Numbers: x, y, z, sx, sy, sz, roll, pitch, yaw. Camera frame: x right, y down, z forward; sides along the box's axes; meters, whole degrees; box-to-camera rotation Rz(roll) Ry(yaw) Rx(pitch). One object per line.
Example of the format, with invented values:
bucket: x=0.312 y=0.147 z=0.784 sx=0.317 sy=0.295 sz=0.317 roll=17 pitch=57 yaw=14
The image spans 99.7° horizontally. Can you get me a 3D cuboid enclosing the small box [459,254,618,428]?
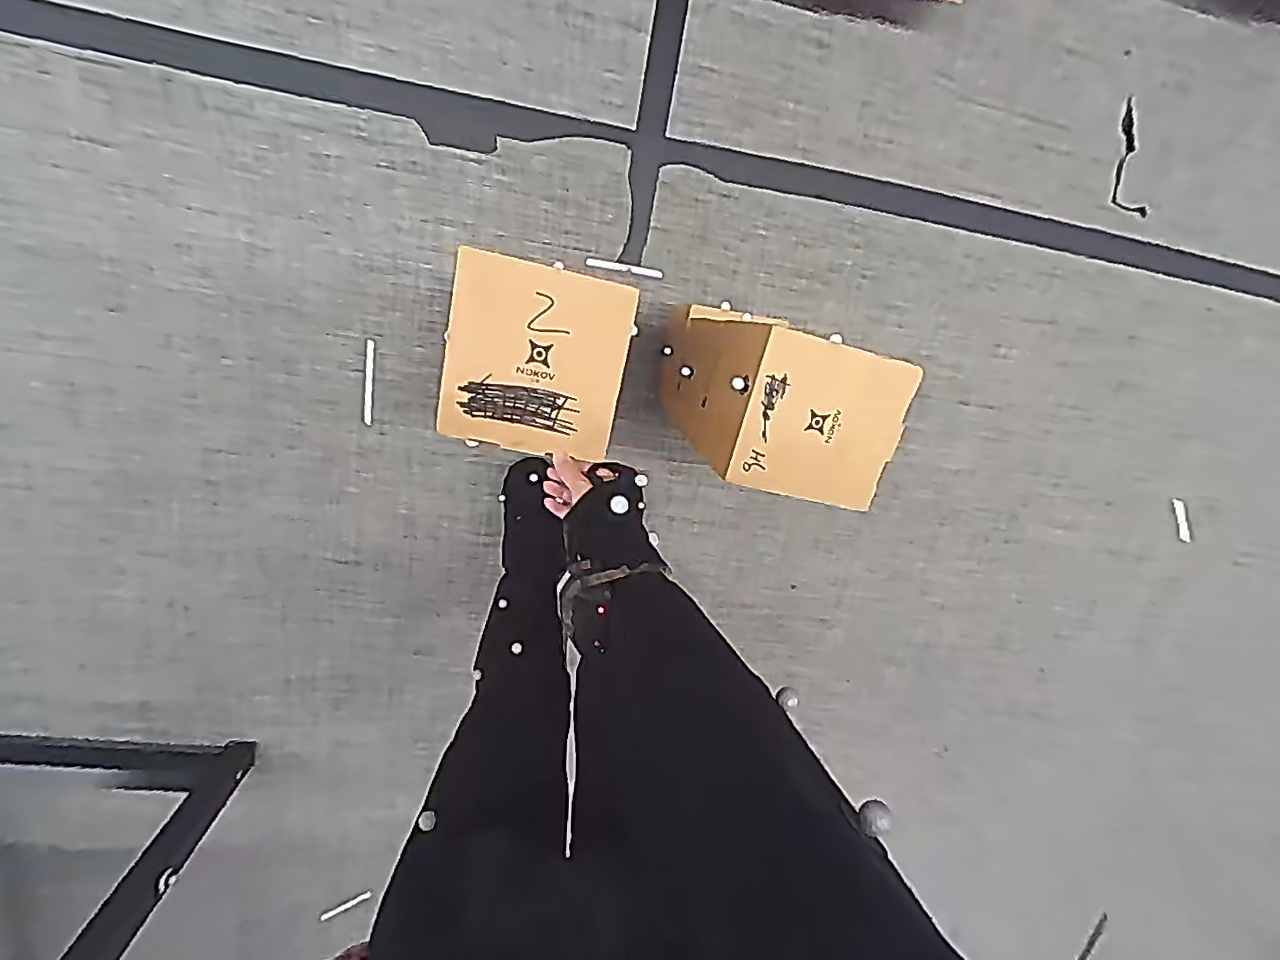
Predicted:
small box: x=-0.135 y=-0.185 z=0.730 sx=0.168 sy=0.176 sz=0.179 roll=11 pitch=104 yaw=-13

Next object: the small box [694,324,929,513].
small box: x=0.183 y=-0.080 z=0.632 sx=0.179 sy=0.176 sz=0.168 roll=12 pitch=106 yaw=-13

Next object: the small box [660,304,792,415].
small box: x=0.136 y=-0.200 z=0.935 sx=0.168 sy=0.176 sz=0.179 roll=6 pitch=106 yaw=-11

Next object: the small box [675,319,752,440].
small box: x=0.161 y=-0.133 z=0.786 sx=0.179 sy=0.176 sz=0.168 roll=9 pitch=107 yaw=-12
